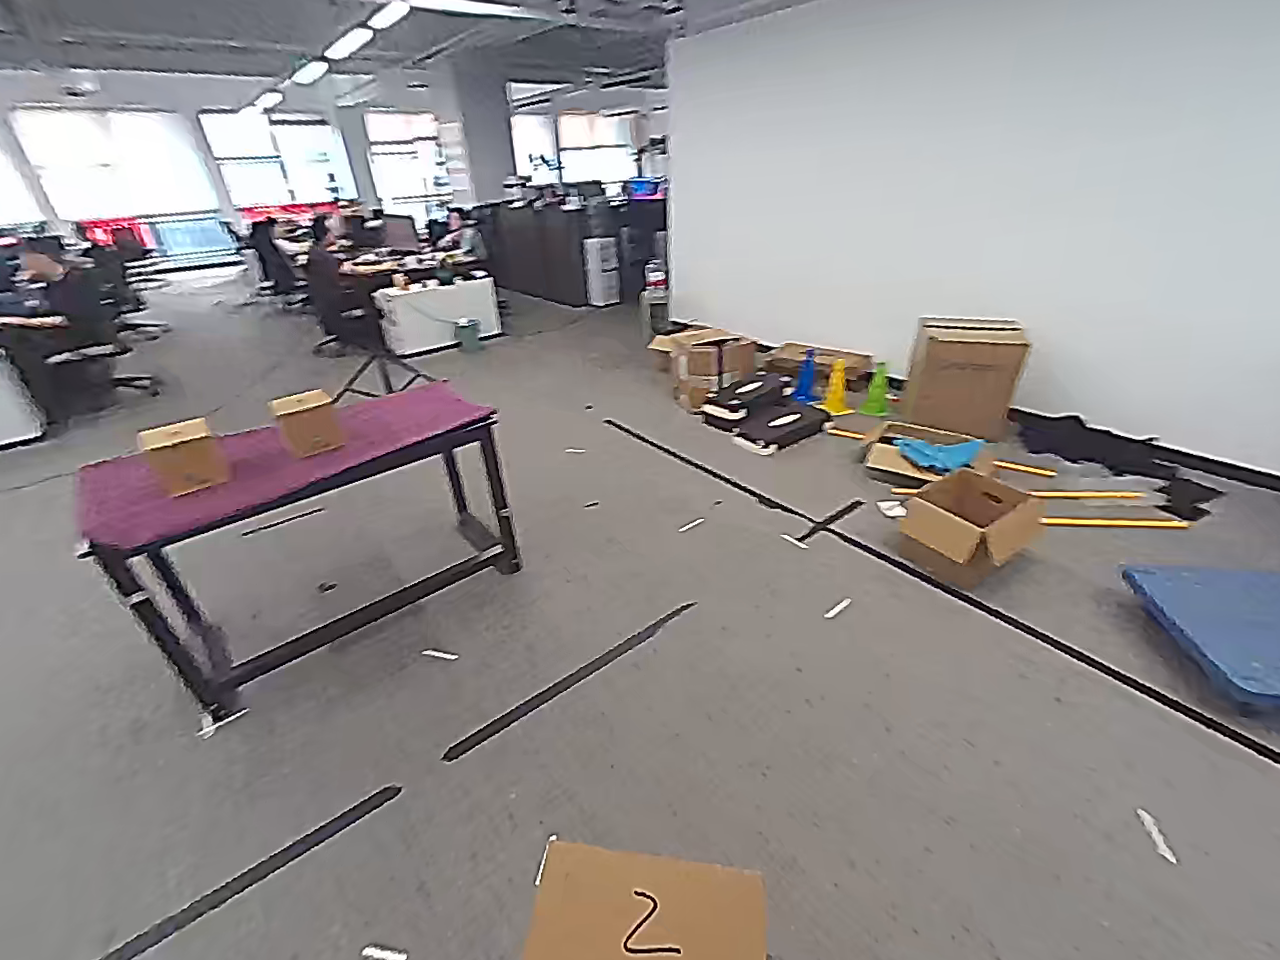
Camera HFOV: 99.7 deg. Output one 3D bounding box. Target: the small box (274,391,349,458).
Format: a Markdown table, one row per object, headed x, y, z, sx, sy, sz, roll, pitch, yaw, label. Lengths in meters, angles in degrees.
| x | y | z | sx | sy | sz | roll | pitch | yaw | label |
| --- | --- | --- | --- | --- | --- | --- | --- | --- | --- |
| -1.159 | -0.195 | 1.908 | 0.168 | 0.176 | 0.179 | -25 | 37 | -32 | small box |

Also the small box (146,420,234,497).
| x | y | z | sx | sy | sz | roll | pitch | yaw | label |
| --- | --- | --- | --- | --- | --- | --- | --- | --- | --- |
| -1.428 | -0.068 | 1.717 | 0.168 | 0.176 | 0.179 | -25 | 38 | -34 | small box |
